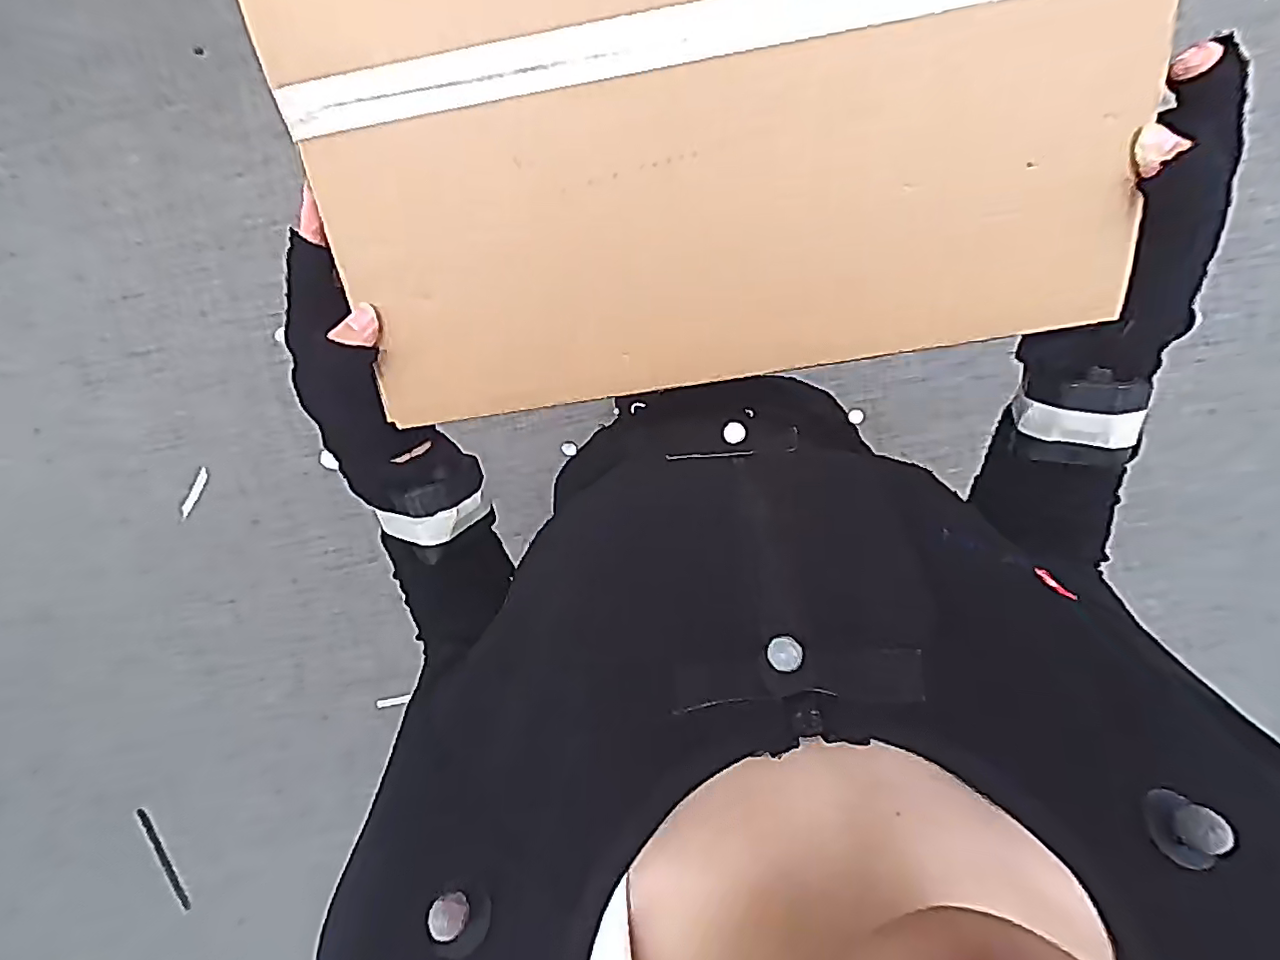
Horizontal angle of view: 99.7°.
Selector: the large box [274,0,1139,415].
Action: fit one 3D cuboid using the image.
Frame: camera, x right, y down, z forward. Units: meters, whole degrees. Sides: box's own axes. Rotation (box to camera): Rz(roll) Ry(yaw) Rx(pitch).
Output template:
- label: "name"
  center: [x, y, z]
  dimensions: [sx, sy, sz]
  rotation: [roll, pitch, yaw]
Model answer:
- label: "large box"
  center: [0.031, -0.263, 0.396]
  dimensions: [0.408, 0.320, 0.320]
  rotation: [-8, 113, 4]
